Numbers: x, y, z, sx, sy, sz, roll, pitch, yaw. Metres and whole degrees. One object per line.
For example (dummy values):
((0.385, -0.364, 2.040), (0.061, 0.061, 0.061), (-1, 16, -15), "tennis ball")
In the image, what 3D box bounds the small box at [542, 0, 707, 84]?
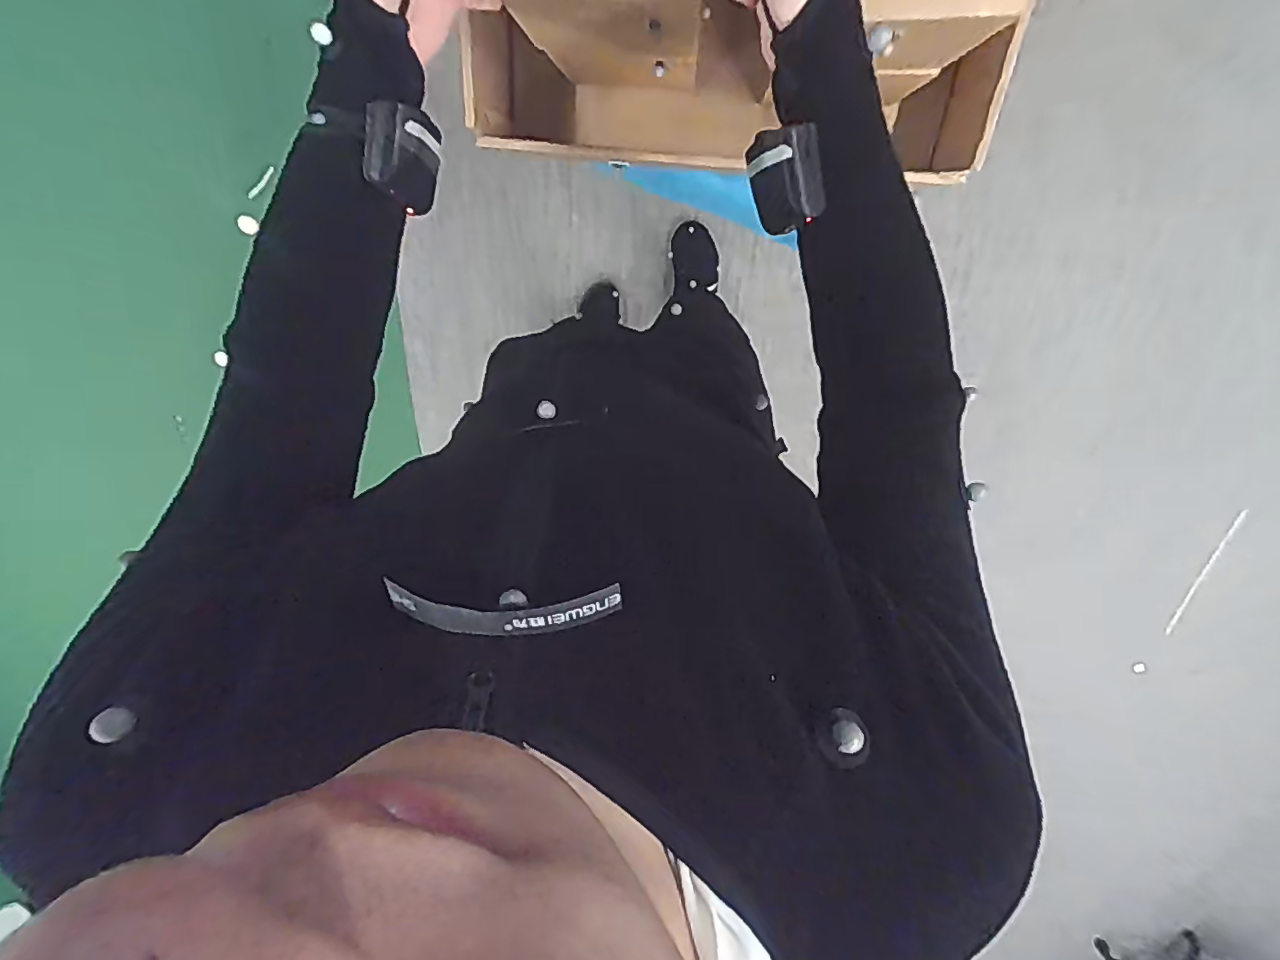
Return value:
((-0.009, -0.580, 0.628), (0.179, 0.176, 0.168), (5, 116, 2), "small box")

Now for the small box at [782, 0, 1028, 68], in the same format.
((0.223, -0.474, 0.464), (0.179, 0.176, 0.168), (3, 116, 6), "small box")
